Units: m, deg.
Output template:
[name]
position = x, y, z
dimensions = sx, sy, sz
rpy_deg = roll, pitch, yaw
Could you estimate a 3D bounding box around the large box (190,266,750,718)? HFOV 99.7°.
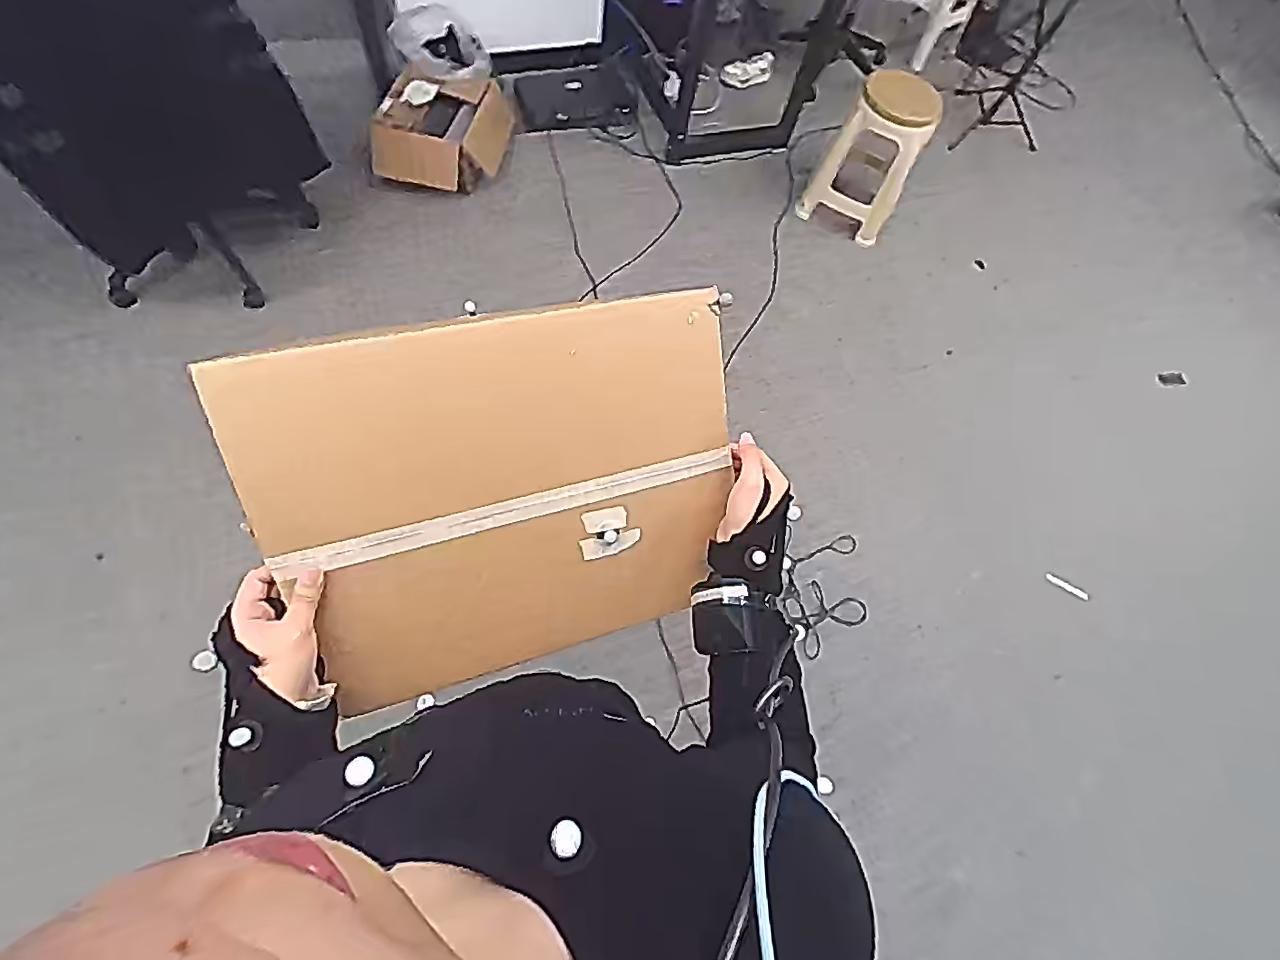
[large box]
position = -0.143, -0.031, 0.589
dimensions = 0.408, 0.320, 0.320
rpy_deg = -15, 112, -17
